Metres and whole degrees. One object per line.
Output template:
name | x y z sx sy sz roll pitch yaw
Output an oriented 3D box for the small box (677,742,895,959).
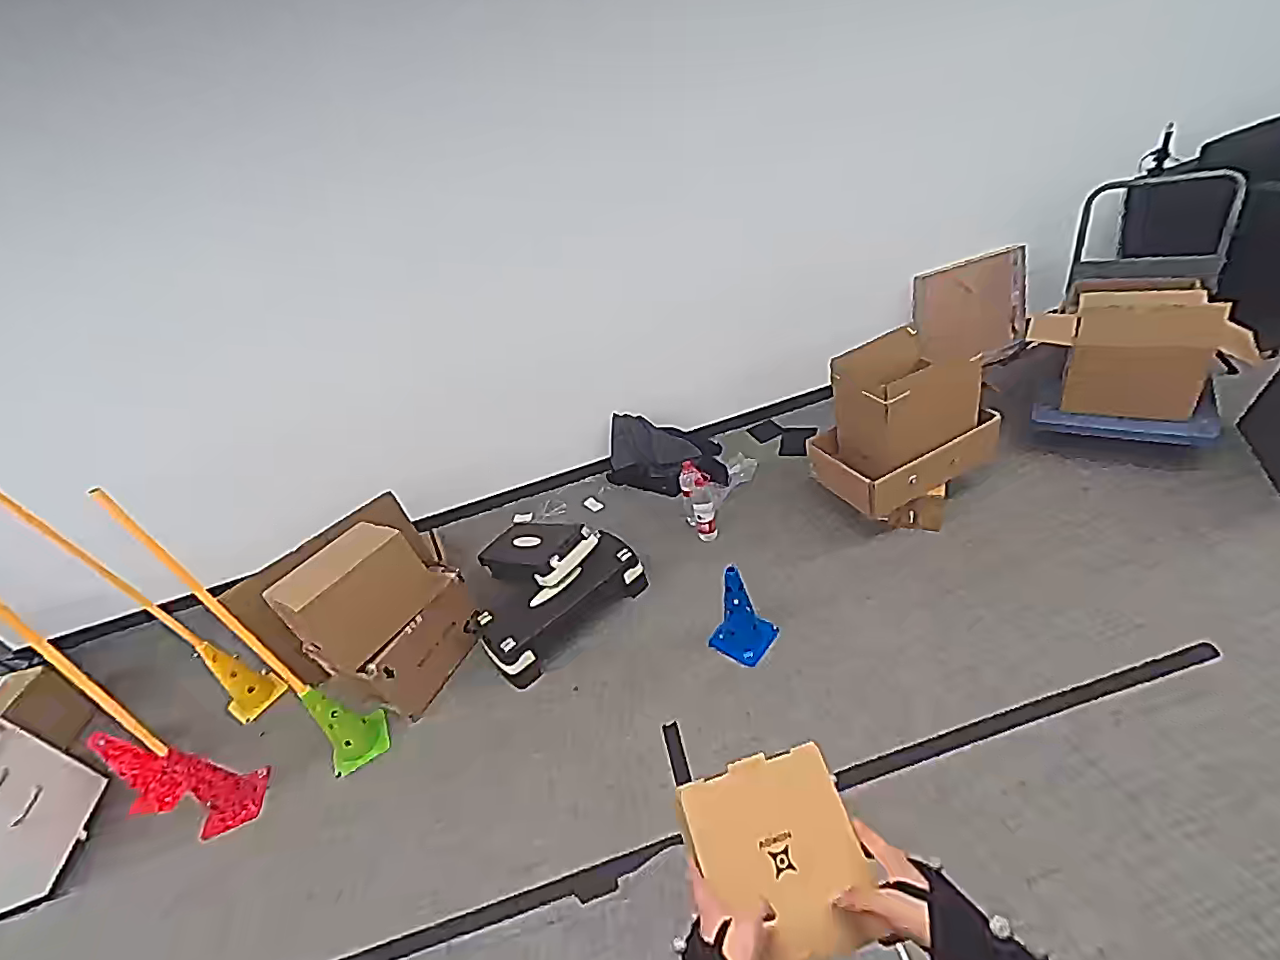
small box | 0.145 0.423 0.610 0.168 0.176 0.179 -14 55 -8
